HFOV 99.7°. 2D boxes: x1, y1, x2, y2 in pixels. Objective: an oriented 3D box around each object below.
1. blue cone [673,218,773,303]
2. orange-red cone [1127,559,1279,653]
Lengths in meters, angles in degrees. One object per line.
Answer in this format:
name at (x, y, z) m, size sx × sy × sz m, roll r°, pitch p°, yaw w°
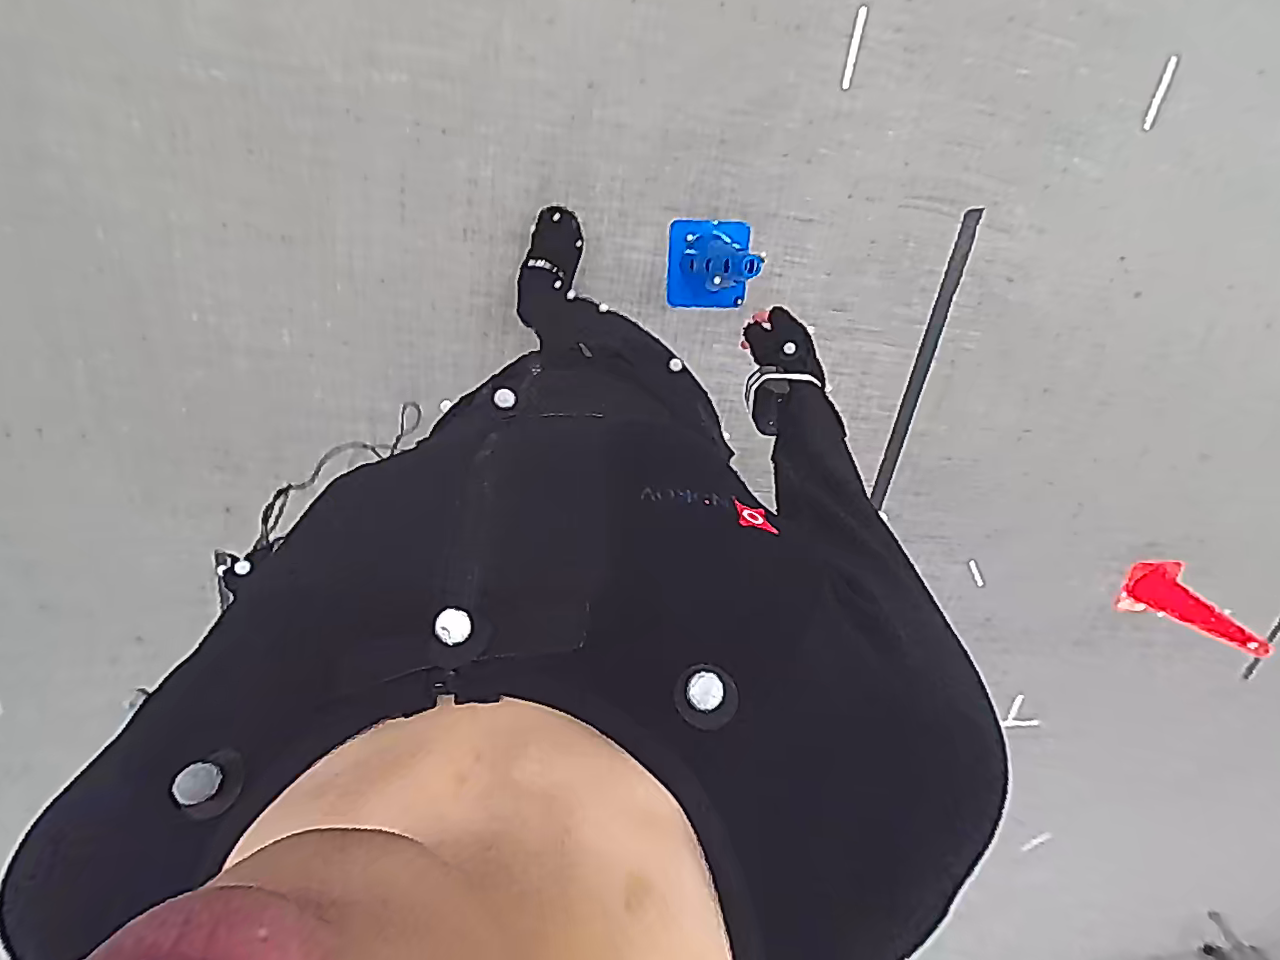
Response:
blue cone at (0.196, -0.473, 1.166) m, size 0.192 × 0.380 × 0.193 m, roll 0°, pitch 112°, yaw -7°
orange-red cone at (1.841, 0.425, 1.735) m, size 0.198 × 0.360 × 0.199 m, roll 0°, pitch 111°, yaw -8°
